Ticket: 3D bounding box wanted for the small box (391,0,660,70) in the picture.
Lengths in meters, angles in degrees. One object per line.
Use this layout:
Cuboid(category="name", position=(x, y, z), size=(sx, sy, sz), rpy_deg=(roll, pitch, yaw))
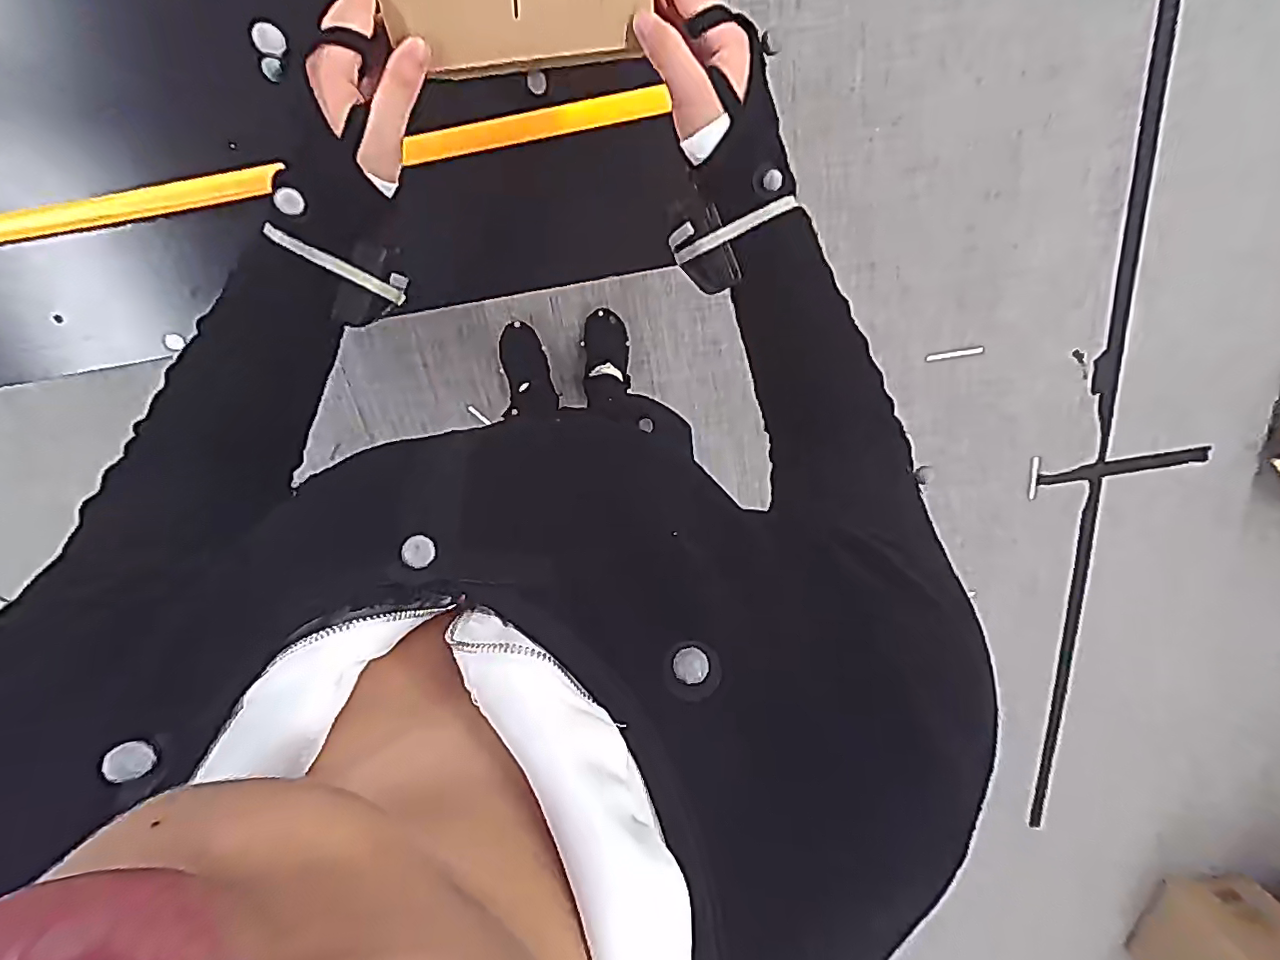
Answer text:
Cuboid(category="small box", position=(-0.081, -0.391, 0.359), size=(0.168, 0.176, 0.179), rpy_deg=(-6, 126, 0))
